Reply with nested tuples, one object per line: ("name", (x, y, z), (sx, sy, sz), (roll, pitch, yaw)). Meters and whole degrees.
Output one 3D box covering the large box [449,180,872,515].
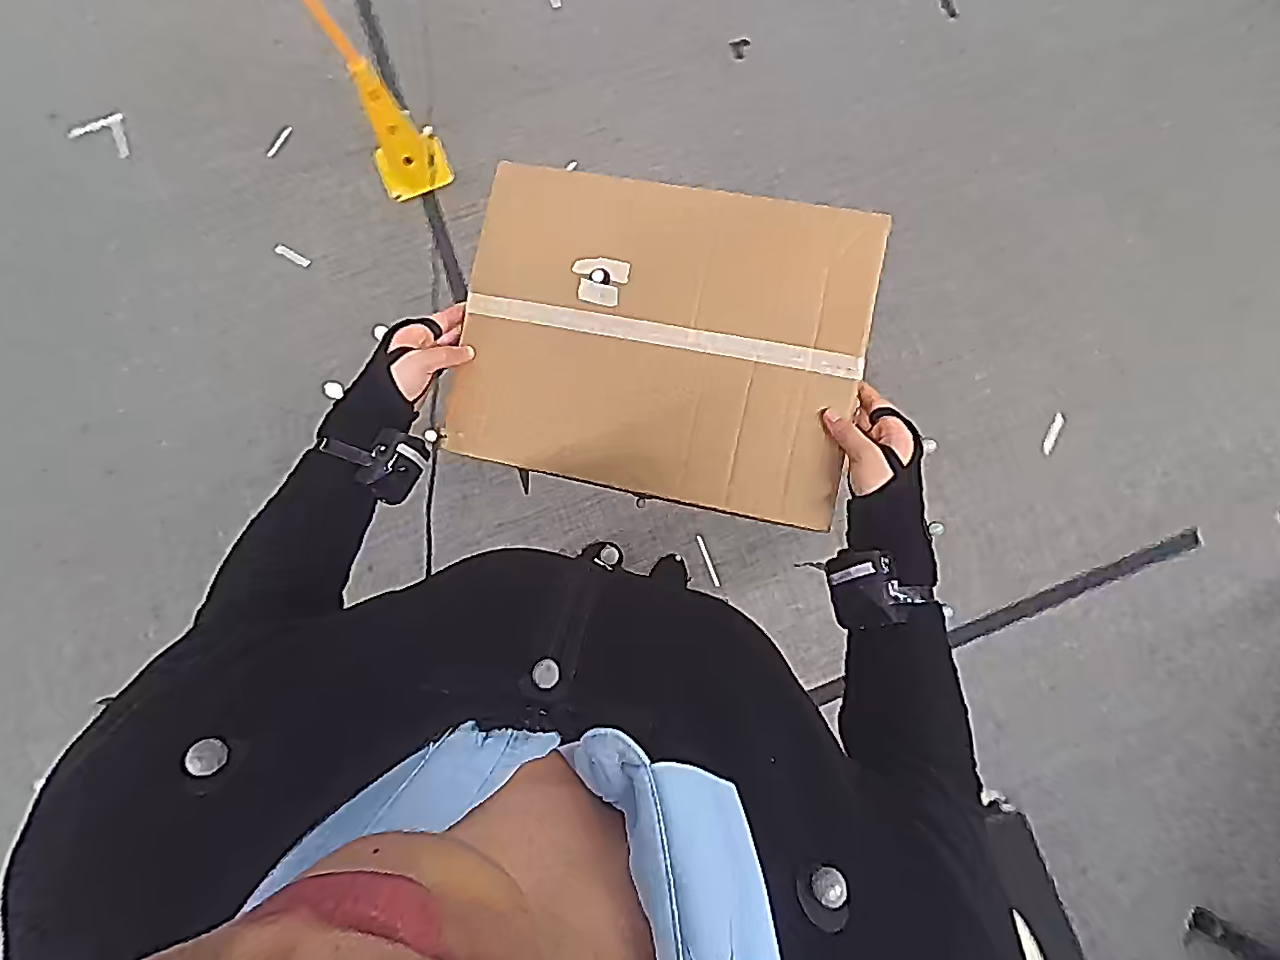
("large box", (0.034, -0.137, 0.702), (0.408, 0.320, 0.320), (10, 87, 8))
